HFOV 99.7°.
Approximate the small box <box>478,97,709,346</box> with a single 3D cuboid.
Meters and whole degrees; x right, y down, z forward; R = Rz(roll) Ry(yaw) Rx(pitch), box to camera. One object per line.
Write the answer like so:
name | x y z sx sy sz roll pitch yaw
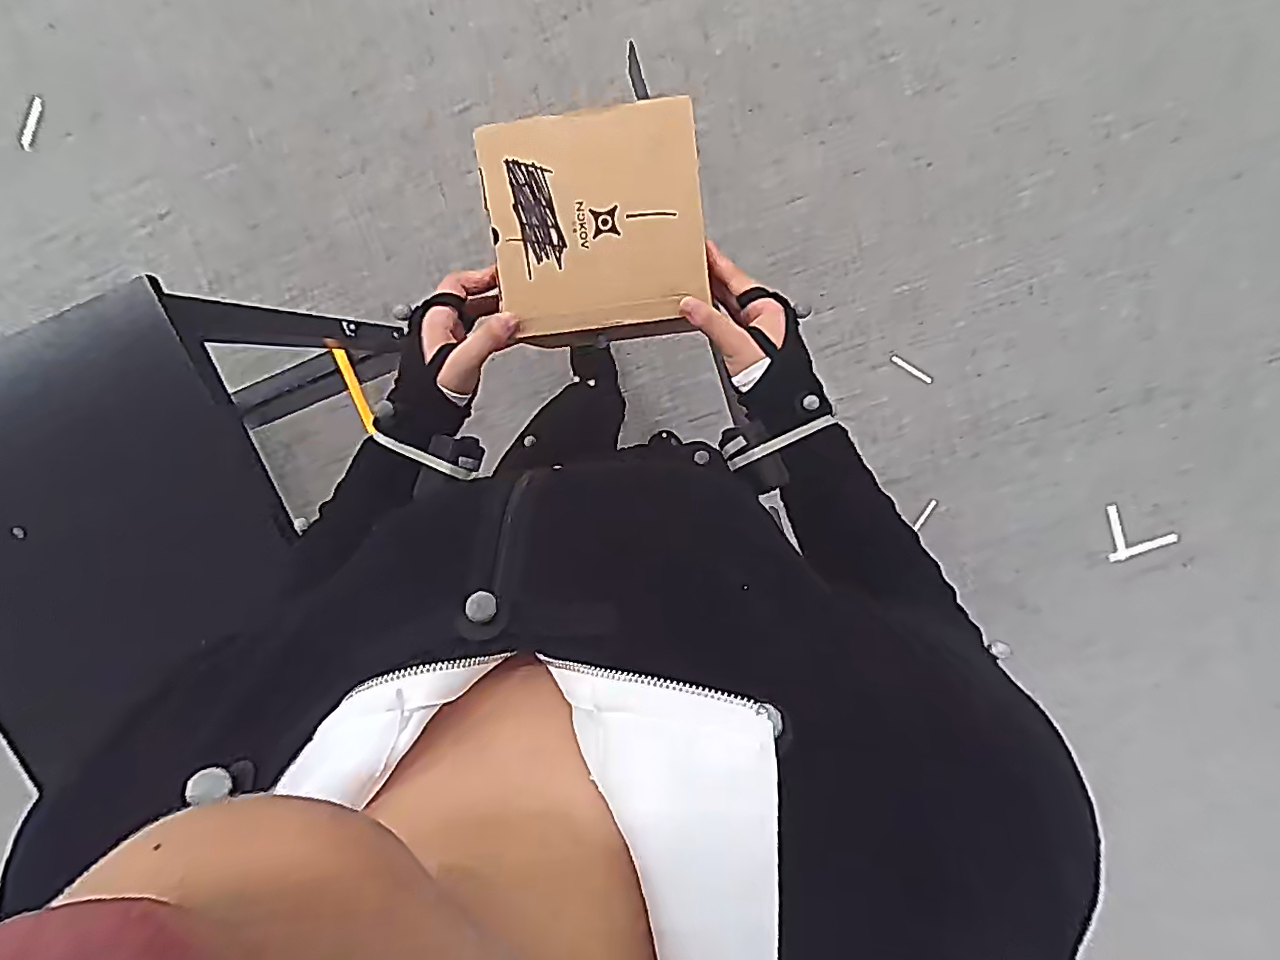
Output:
small box | -0.032 -0.222 0.514 0.179 0.176 0.168 -6 101 3
